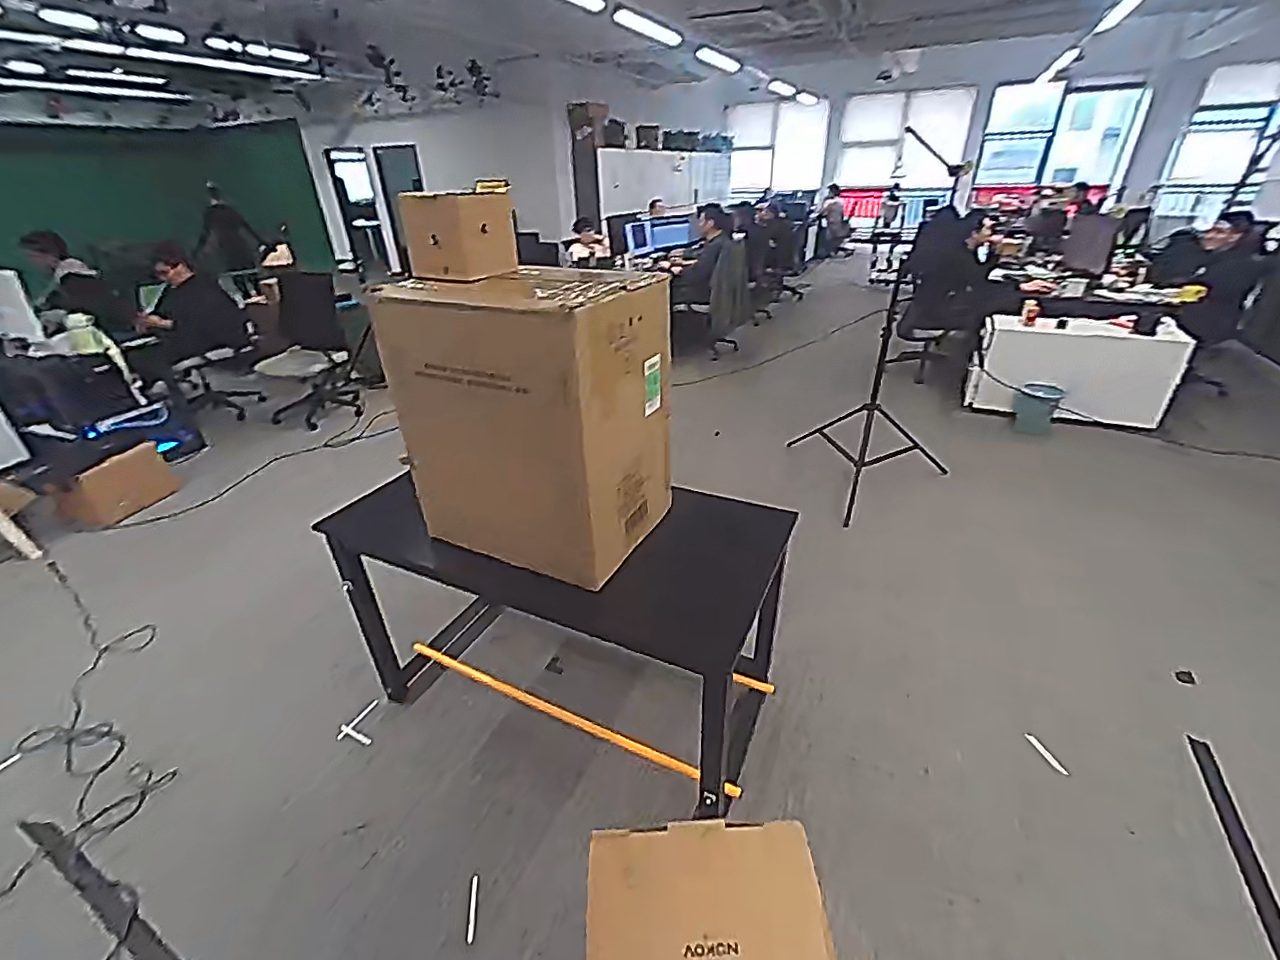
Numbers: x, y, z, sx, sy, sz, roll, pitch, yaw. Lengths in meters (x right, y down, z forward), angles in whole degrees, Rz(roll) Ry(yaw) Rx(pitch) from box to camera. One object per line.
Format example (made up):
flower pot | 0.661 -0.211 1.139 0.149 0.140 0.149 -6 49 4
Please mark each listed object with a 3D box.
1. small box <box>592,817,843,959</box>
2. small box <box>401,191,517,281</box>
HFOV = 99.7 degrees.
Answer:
small box | 0.048 0.373 0.393 0.168 0.176 0.179 -1 42 -3
small box | -0.392 -0.546 1.206 0.168 0.176 0.179 13 32 22
